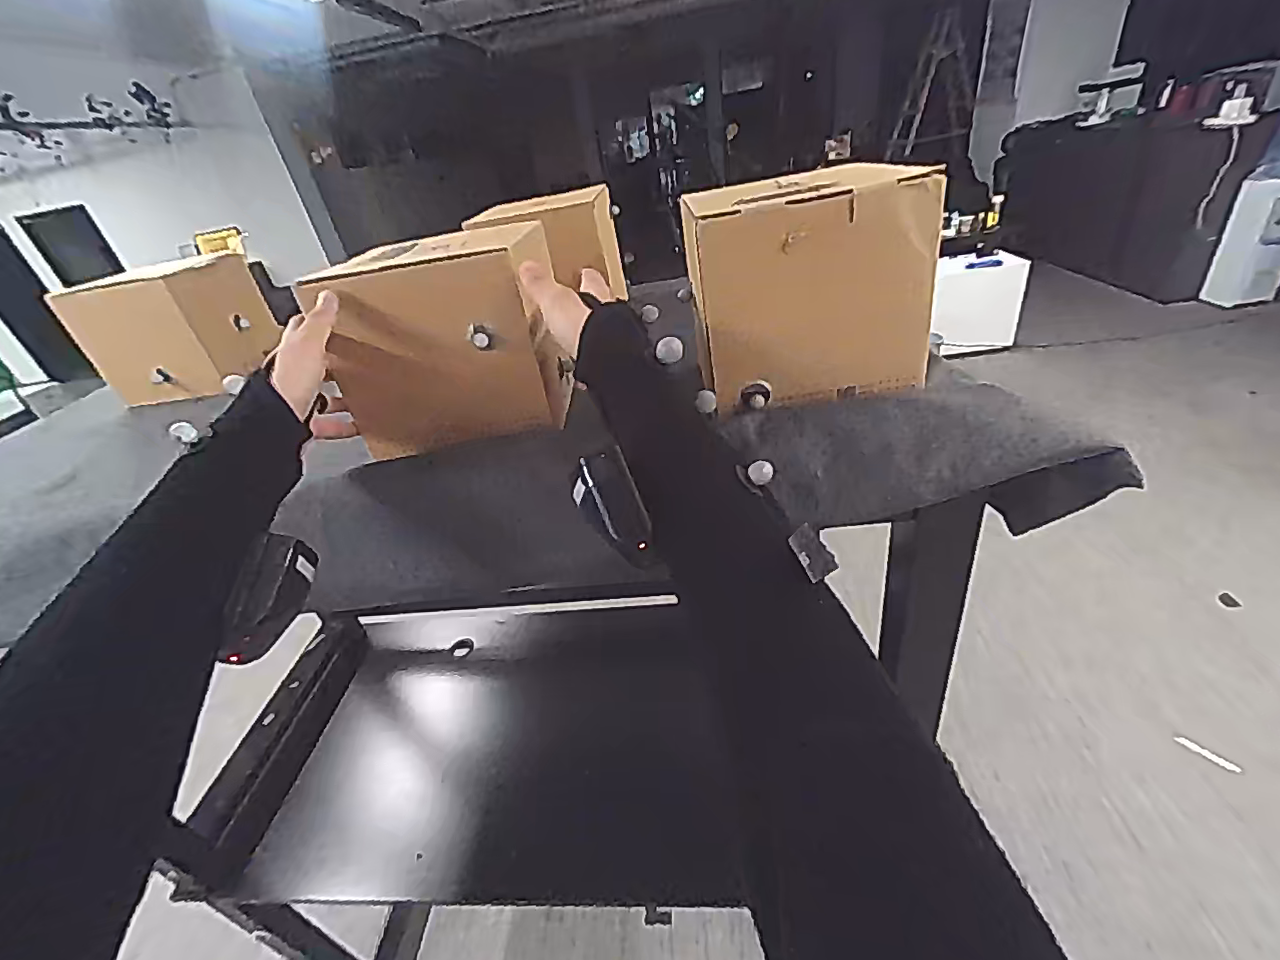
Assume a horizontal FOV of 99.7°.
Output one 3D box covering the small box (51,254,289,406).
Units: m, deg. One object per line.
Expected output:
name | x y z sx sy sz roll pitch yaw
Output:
small box | -0.685 -0.226 0.819 0.179 0.176 0.168 -6 33 5

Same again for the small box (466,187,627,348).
small box | -0.115 -0.292 0.756 0.168 0.176 0.179 -7 33 7

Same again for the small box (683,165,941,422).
small box | 0.132 -0.158 0.469 0.168 0.176 0.179 -8 31 5
